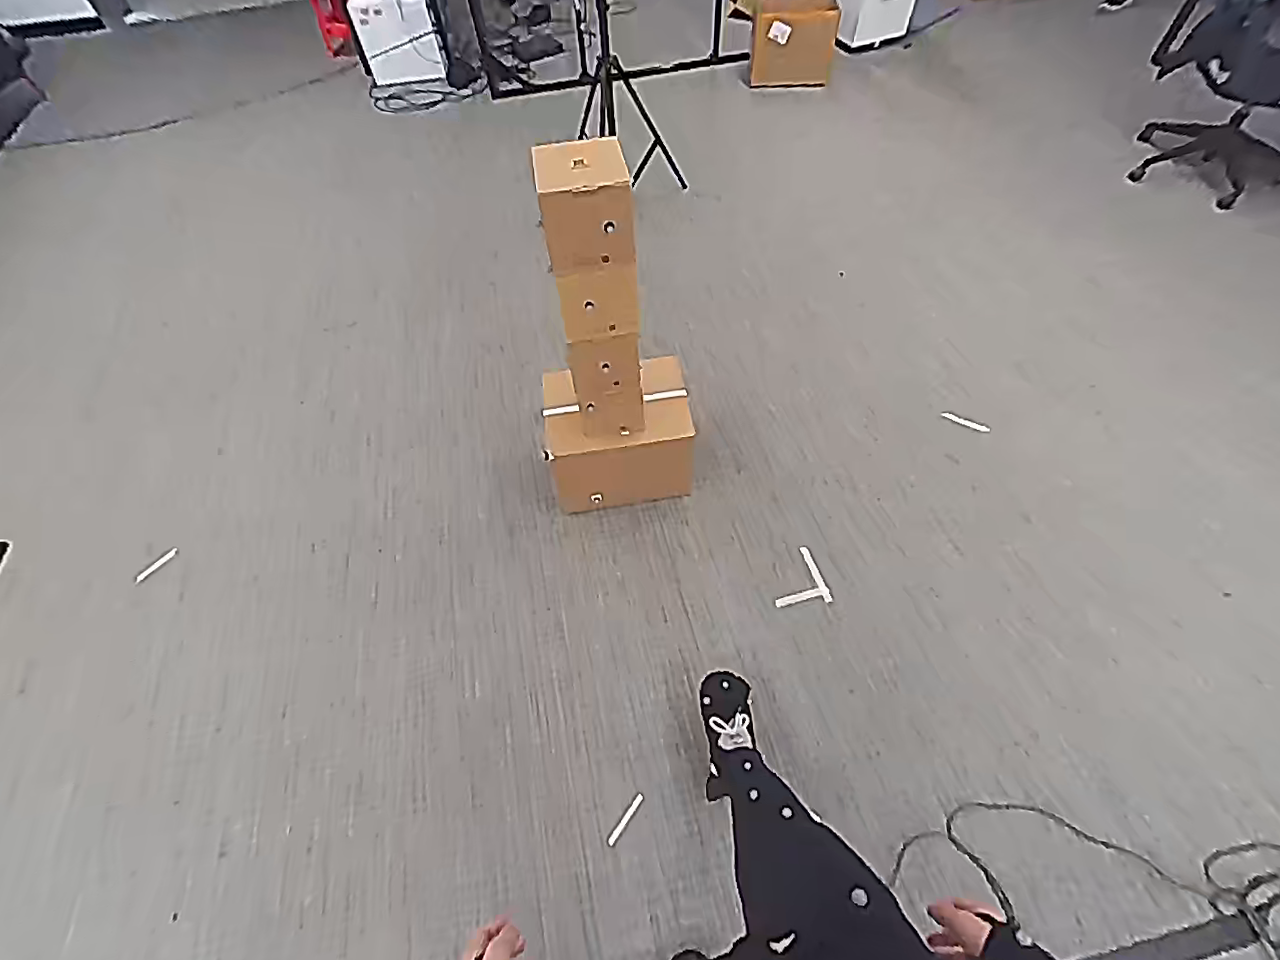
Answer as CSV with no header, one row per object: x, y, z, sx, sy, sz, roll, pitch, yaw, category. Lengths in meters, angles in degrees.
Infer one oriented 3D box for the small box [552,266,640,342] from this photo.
-0.096,-0.415,1.169,0.168,0.176,0.179,-10,56,-3,small box

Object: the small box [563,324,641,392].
-0.092,-0.328,1.306,0.168,0.176,0.179,-8,57,-2,small box

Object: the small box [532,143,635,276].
-0.105,-0.509,1.036,0.168,0.176,0.179,-10,55,-5,small box
